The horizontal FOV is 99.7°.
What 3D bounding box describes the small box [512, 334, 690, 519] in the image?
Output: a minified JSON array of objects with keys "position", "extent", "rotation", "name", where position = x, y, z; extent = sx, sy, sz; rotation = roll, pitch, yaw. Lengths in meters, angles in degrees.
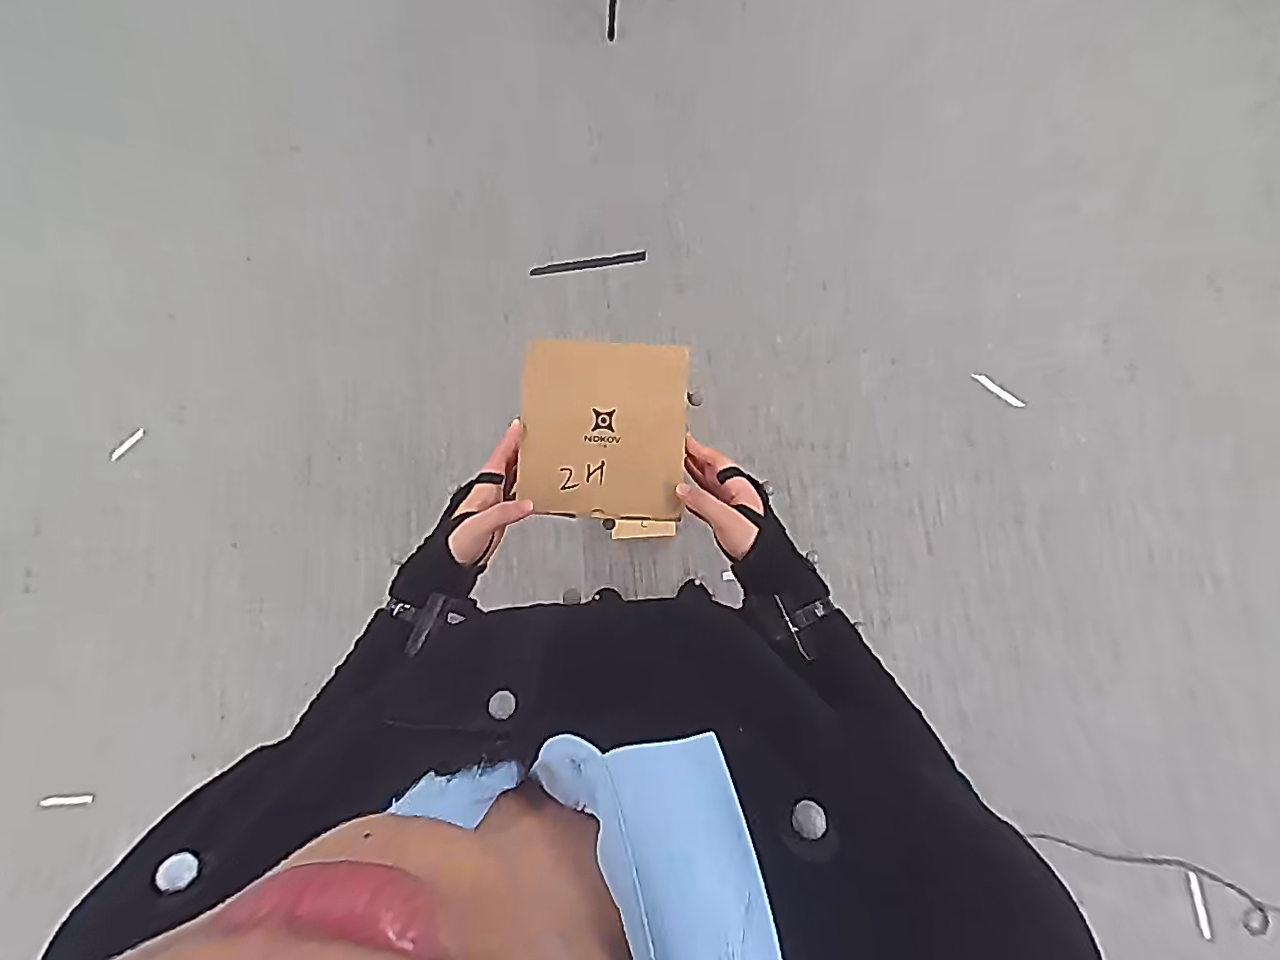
[{"position":[-0.034,-0.048,0.604],"extent":[0.168,0.176,0.179],"rotation":[3,87,4],"name":"small box"}]
